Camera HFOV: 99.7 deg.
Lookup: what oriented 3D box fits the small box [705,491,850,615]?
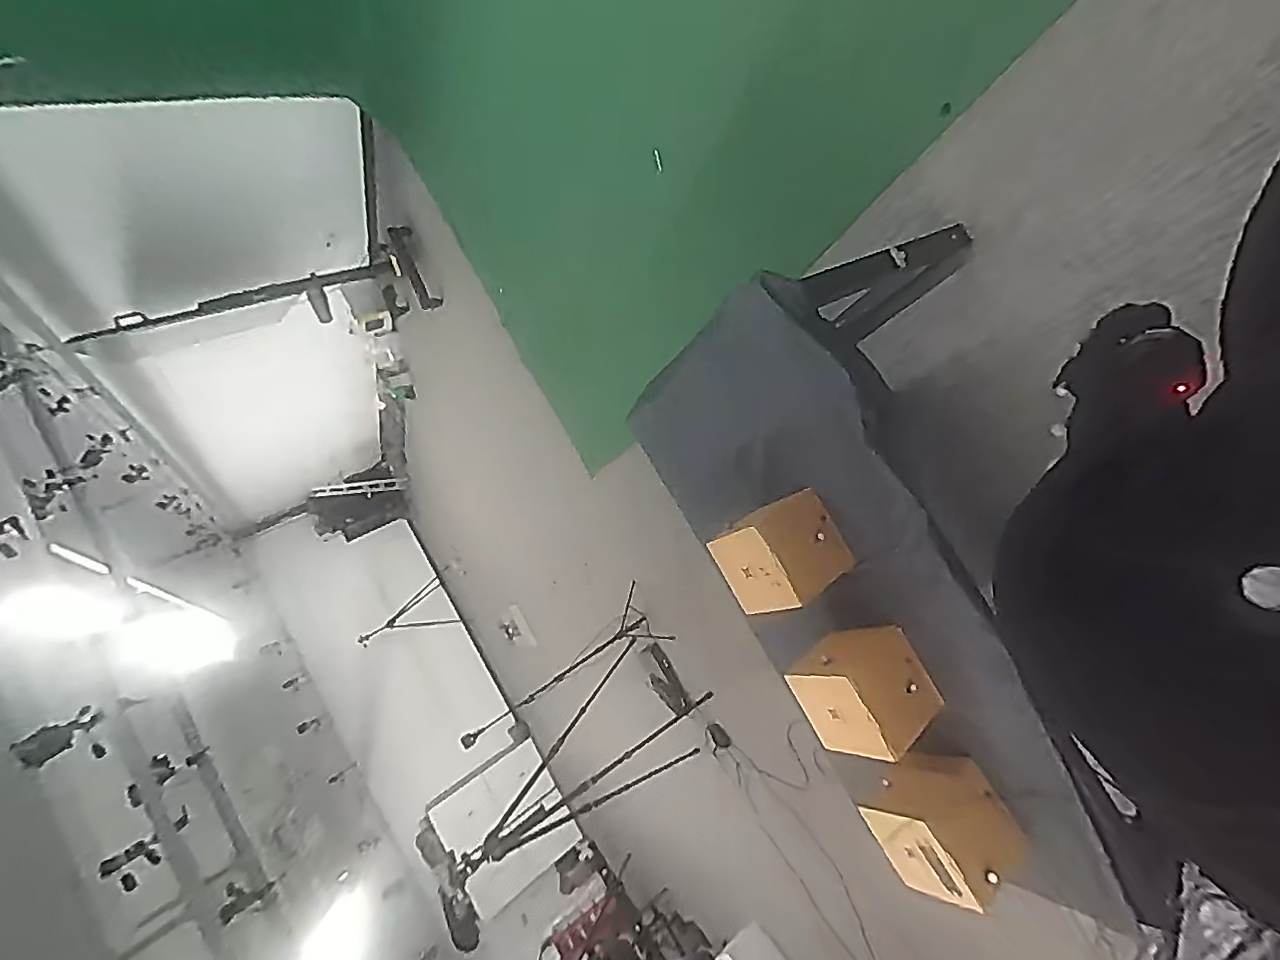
[{"bbox_3d":[0.266,0.143,1.053,0.168,0.176,0.179,60,149,3],"label":"small box"}]

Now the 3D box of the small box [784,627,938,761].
[{"bbox_3d":[0.420,0.398,1.030,0.168,0.176,0.179,60,148,4],"label":"small box"}]
